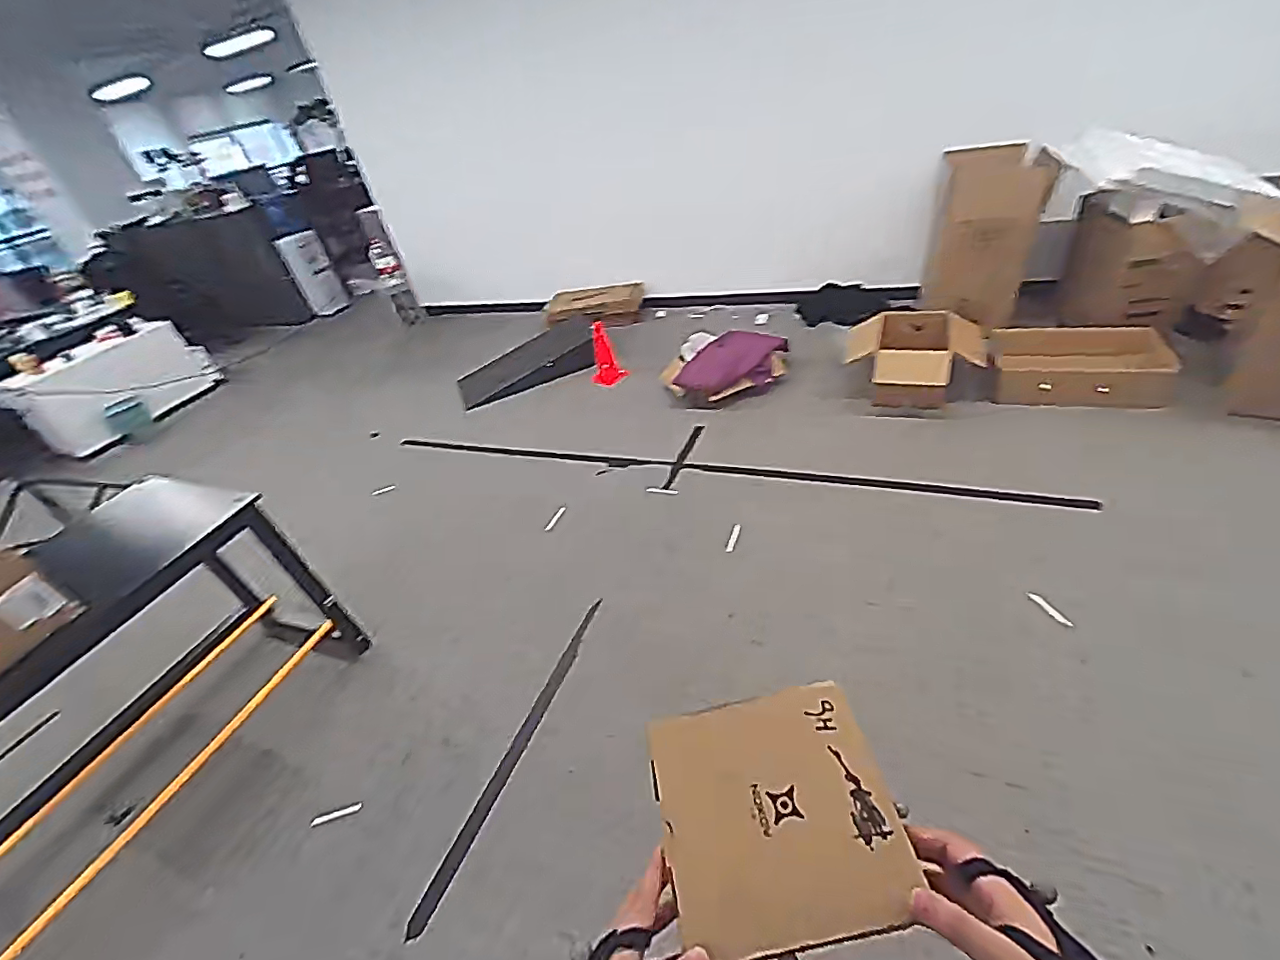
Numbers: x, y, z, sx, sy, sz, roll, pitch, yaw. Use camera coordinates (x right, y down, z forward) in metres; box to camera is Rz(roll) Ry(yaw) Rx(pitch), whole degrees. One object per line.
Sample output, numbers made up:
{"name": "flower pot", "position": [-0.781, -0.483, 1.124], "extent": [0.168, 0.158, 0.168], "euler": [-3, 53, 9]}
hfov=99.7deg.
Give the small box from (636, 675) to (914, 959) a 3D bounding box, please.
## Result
{"name": "small box", "position": [0.106, 0.302, 0.480], "extent": [0.179, 0.176, 0.168], "euler": [-13, 46, 0]}
